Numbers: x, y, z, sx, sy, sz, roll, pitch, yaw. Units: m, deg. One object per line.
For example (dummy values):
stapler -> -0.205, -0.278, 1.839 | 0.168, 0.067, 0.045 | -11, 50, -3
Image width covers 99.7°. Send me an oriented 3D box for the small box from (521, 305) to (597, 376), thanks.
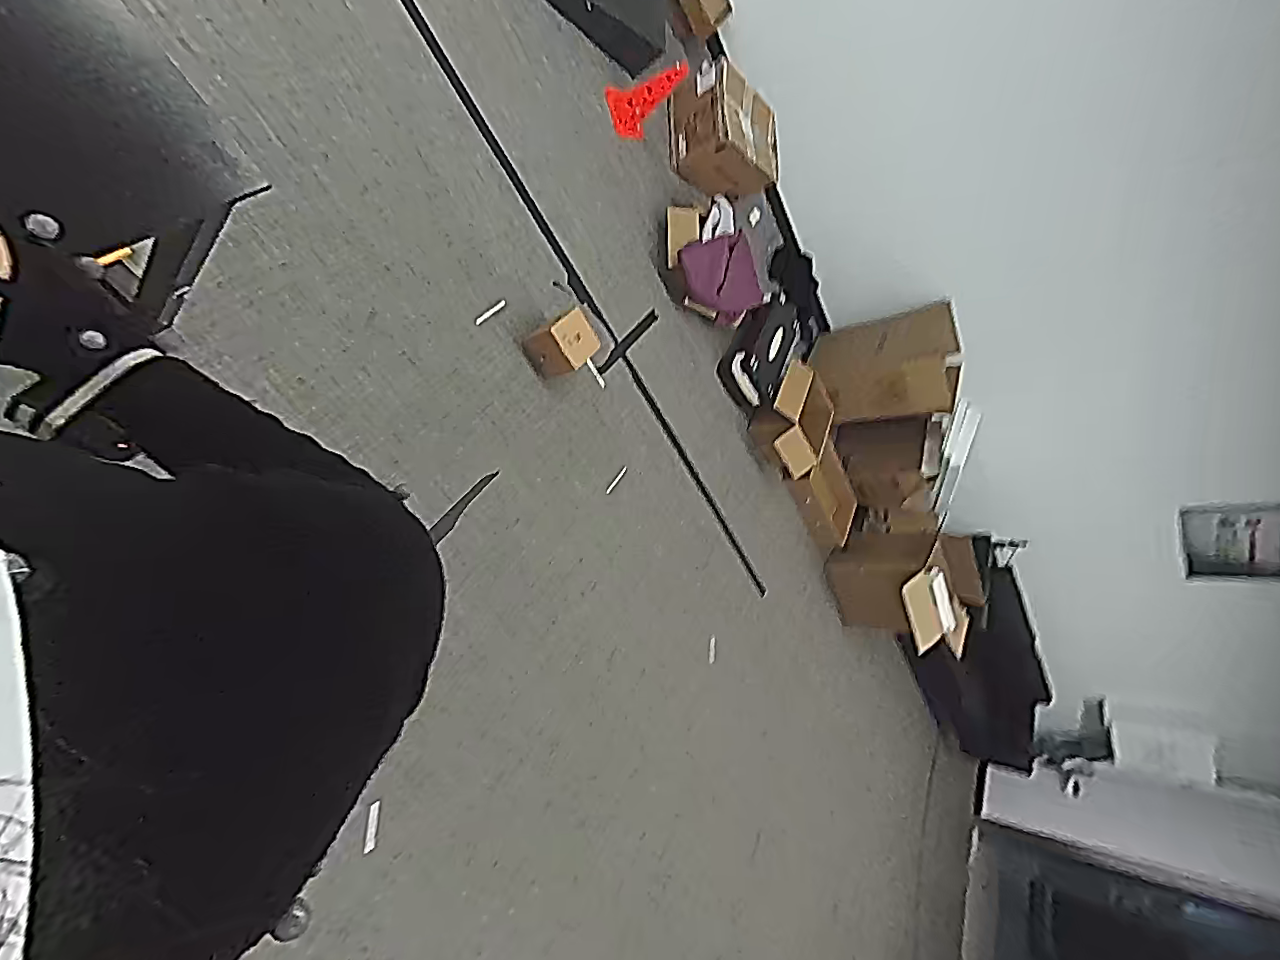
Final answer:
small box -> -0.292, -0.498, 1.940 | 0.168, 0.176, 0.179 | 57, 48, -26
